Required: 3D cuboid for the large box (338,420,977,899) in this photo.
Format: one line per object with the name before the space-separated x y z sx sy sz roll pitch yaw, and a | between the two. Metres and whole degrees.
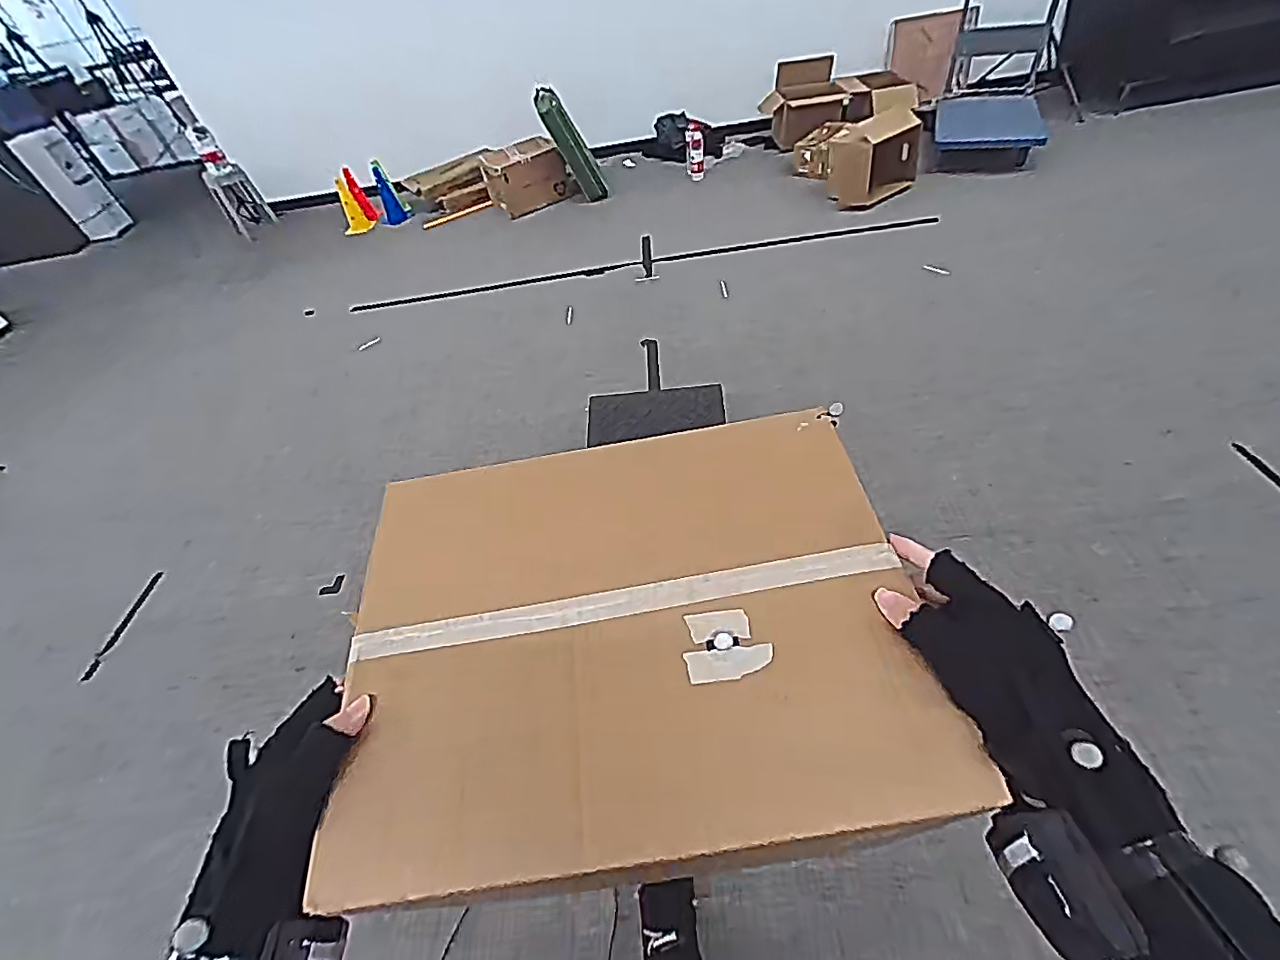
large box | 0.006 0.187 0.532 0.408 0.320 0.320 -10 53 1
